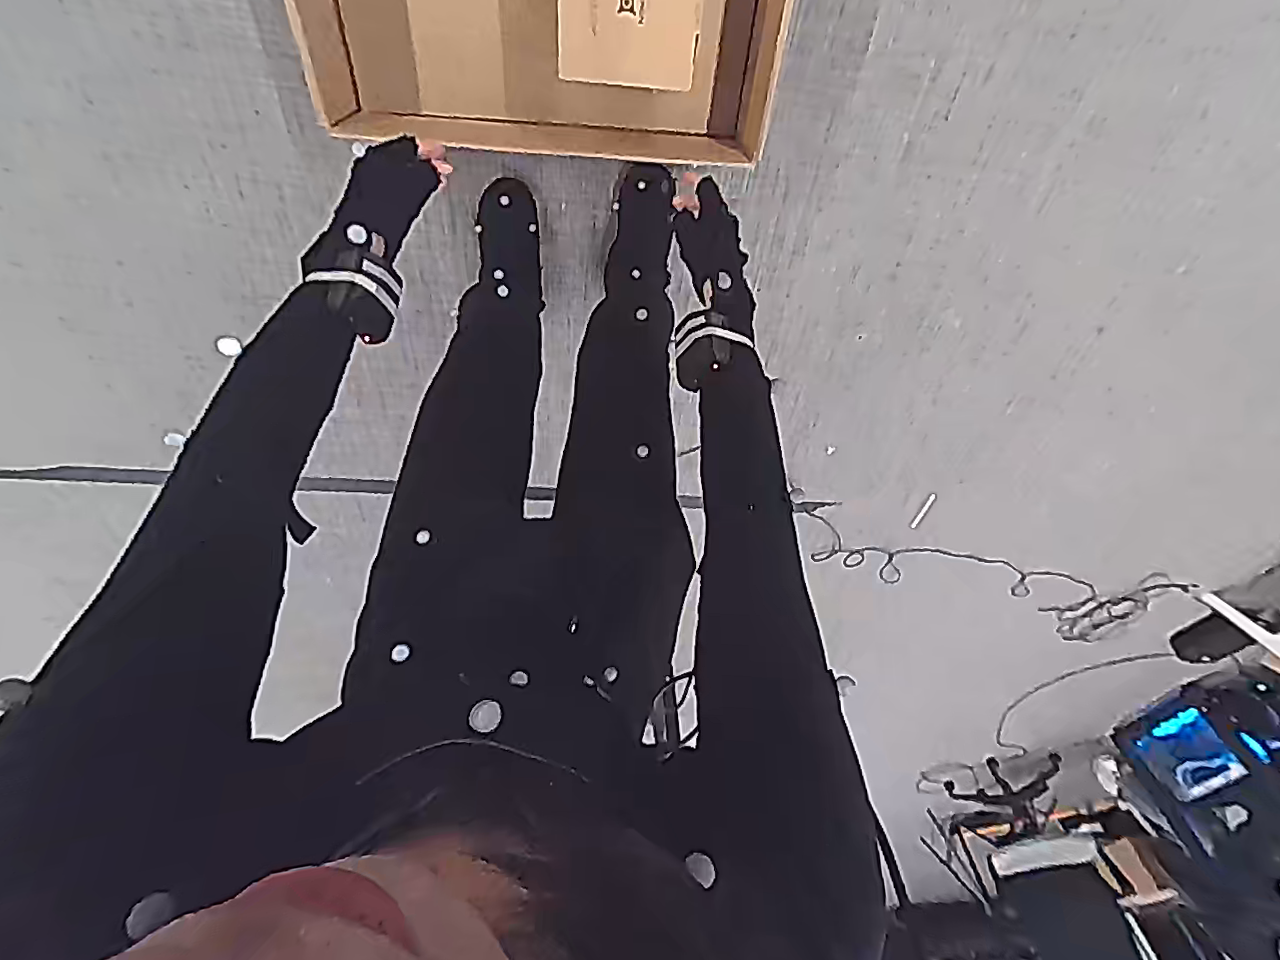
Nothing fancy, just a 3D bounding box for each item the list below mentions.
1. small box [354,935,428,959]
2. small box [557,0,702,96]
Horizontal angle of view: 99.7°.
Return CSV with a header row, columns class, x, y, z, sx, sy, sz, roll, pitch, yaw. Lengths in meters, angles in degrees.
class,x,y,z,sx,sy,sz,roll,pitch,yaw
small box,-0.731,1.443,1.568,0.168,0.176,0.179,-2,131,-4
small box,-0.017,-0.621,0.708,0.179,0.176,0.168,2,131,-5
